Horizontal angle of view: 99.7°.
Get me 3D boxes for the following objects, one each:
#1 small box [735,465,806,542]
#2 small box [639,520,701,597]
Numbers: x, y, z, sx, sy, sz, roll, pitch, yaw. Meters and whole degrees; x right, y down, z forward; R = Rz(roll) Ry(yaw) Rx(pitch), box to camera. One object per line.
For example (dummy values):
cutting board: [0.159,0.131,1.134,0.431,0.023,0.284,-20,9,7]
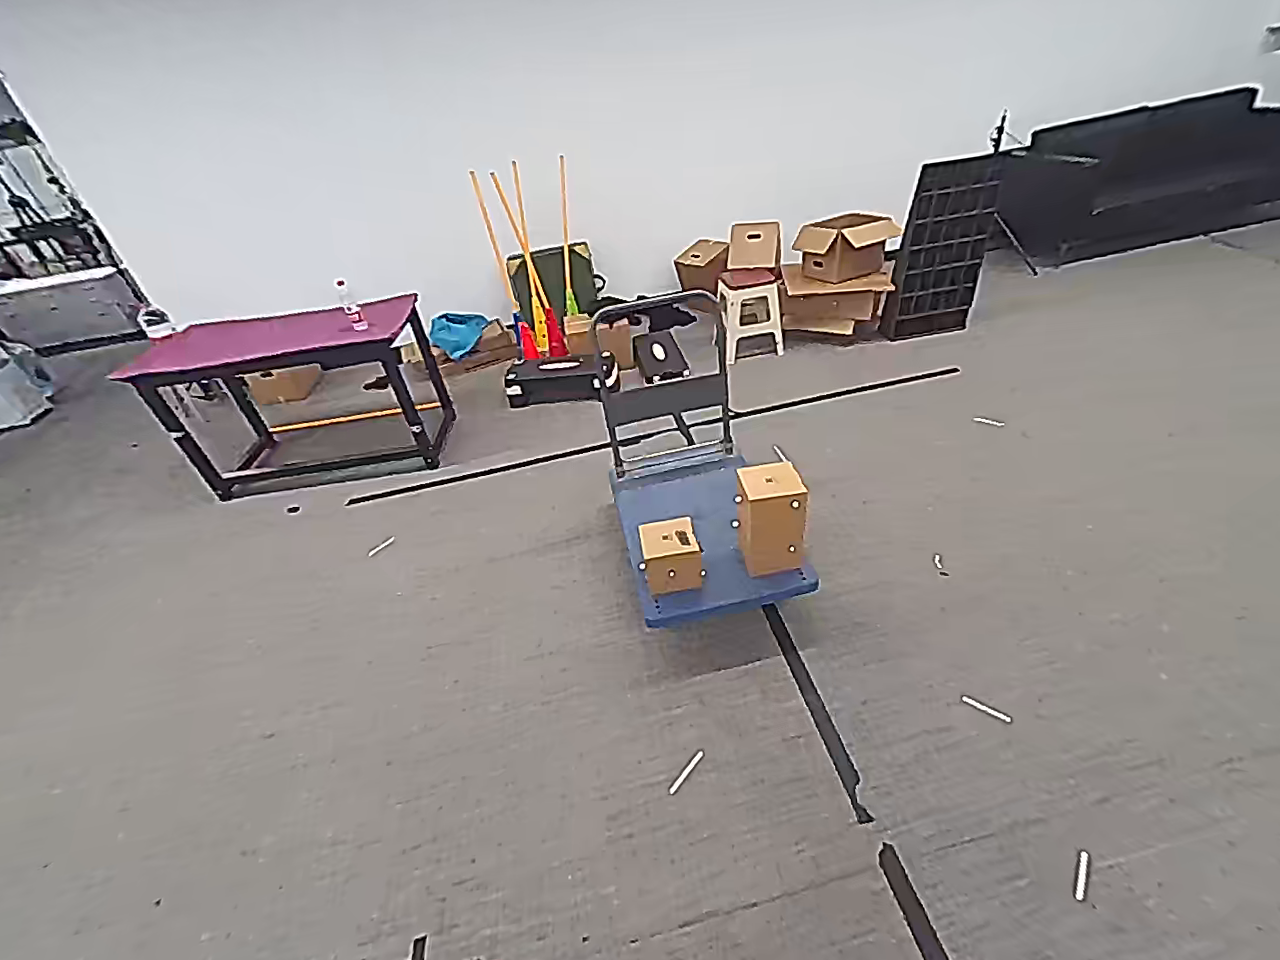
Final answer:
small box: [0.401,0.076,1.676,0.179,0.176,0.168,-8,36,-1]
small box: [0.099,0.259,1.767,0.179,0.176,0.168,-10,36,0]
